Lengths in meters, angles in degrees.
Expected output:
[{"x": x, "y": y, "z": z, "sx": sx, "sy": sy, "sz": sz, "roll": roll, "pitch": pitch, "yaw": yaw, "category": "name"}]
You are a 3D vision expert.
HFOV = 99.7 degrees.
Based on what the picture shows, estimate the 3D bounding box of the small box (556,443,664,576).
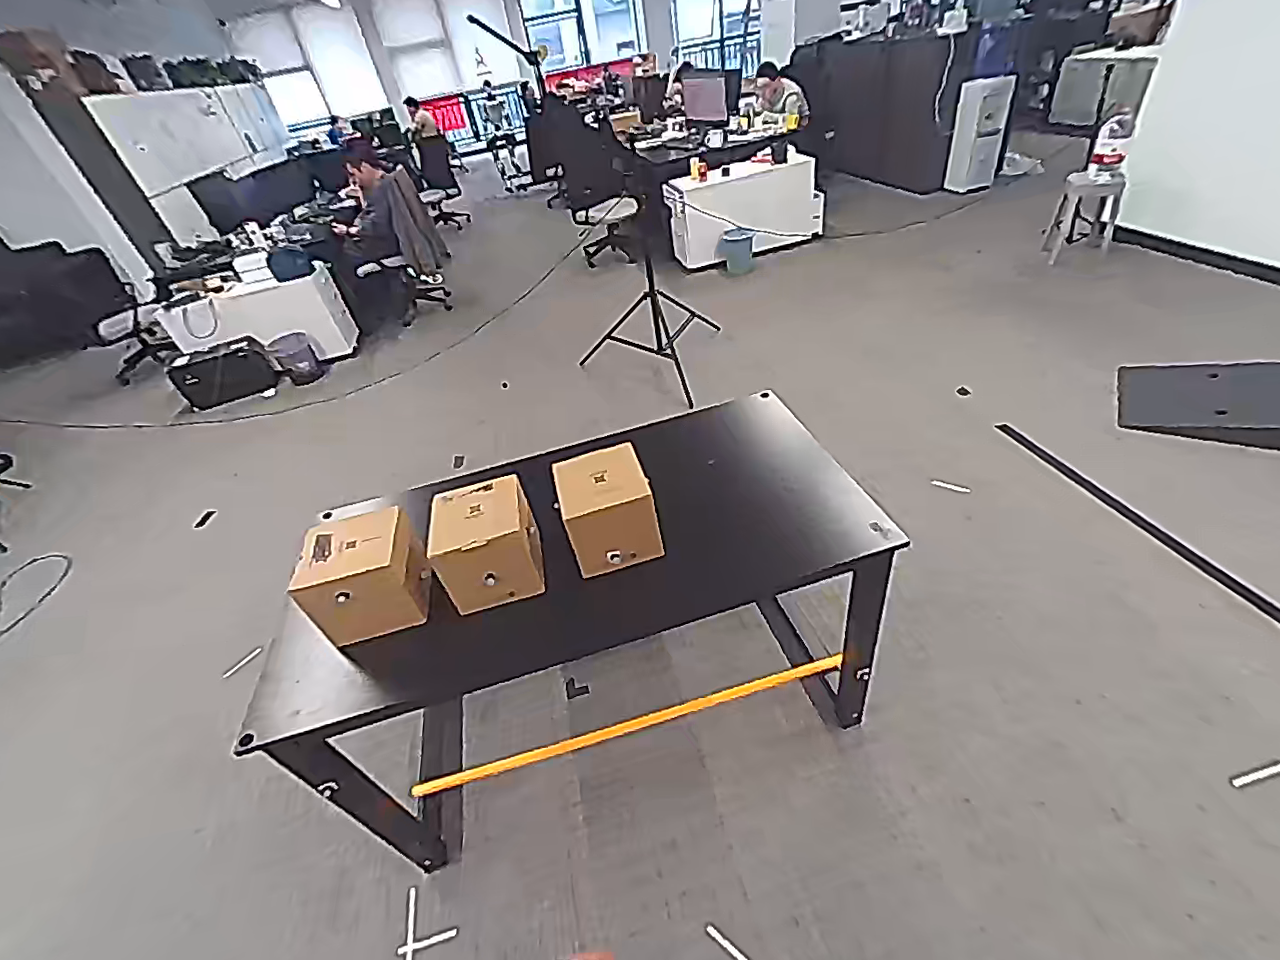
[{"x": -0.059, "y": 0.058, "z": 1.073, "sx": 0.168, "sy": 0.176, "sz": 0.179, "roll": -17, "pitch": 40, "yaw": -5, "category": "small box"}]

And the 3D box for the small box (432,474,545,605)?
[{"x": -0.288, "y": 0.122, "z": 1.050, "sx": 0.168, "sy": 0.176, "sz": 0.179, "roll": -15, "pitch": 40, "yaw": -5, "category": "small box"}]

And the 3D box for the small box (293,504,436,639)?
[{"x": -0.513, "y": 0.177, "z": 1.036, "sx": 0.179, "sy": 0.176, "sz": 0.168, "roll": -15, "pitch": 40, "yaw": -5, "category": "small box"}]
